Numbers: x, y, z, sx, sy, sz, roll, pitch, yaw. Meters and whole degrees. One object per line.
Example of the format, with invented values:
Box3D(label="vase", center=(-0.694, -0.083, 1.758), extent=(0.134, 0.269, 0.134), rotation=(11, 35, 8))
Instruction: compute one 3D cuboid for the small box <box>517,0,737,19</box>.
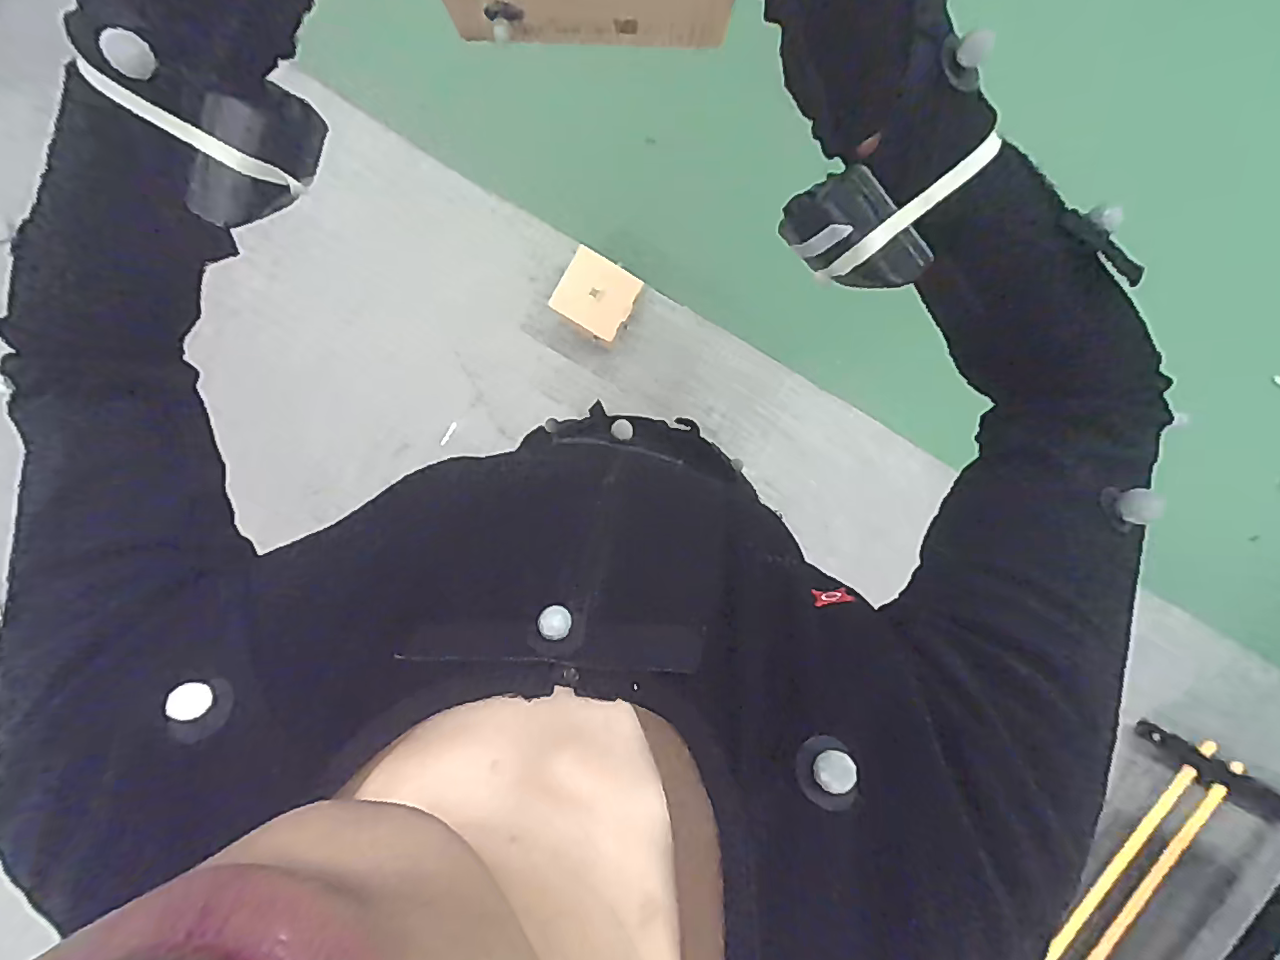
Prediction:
Box3D(label="small box", center=(-0.017, -0.351, 0.238), extent=(0.168, 0.176, 0.179), rotation=(1, 101, -1))

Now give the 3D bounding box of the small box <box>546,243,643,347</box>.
Box3D(label="small box", center=(-0.109, -0.448, 1.347), extent=(0.179, 0.176, 0.168), rotation=(30, 95, -4))
